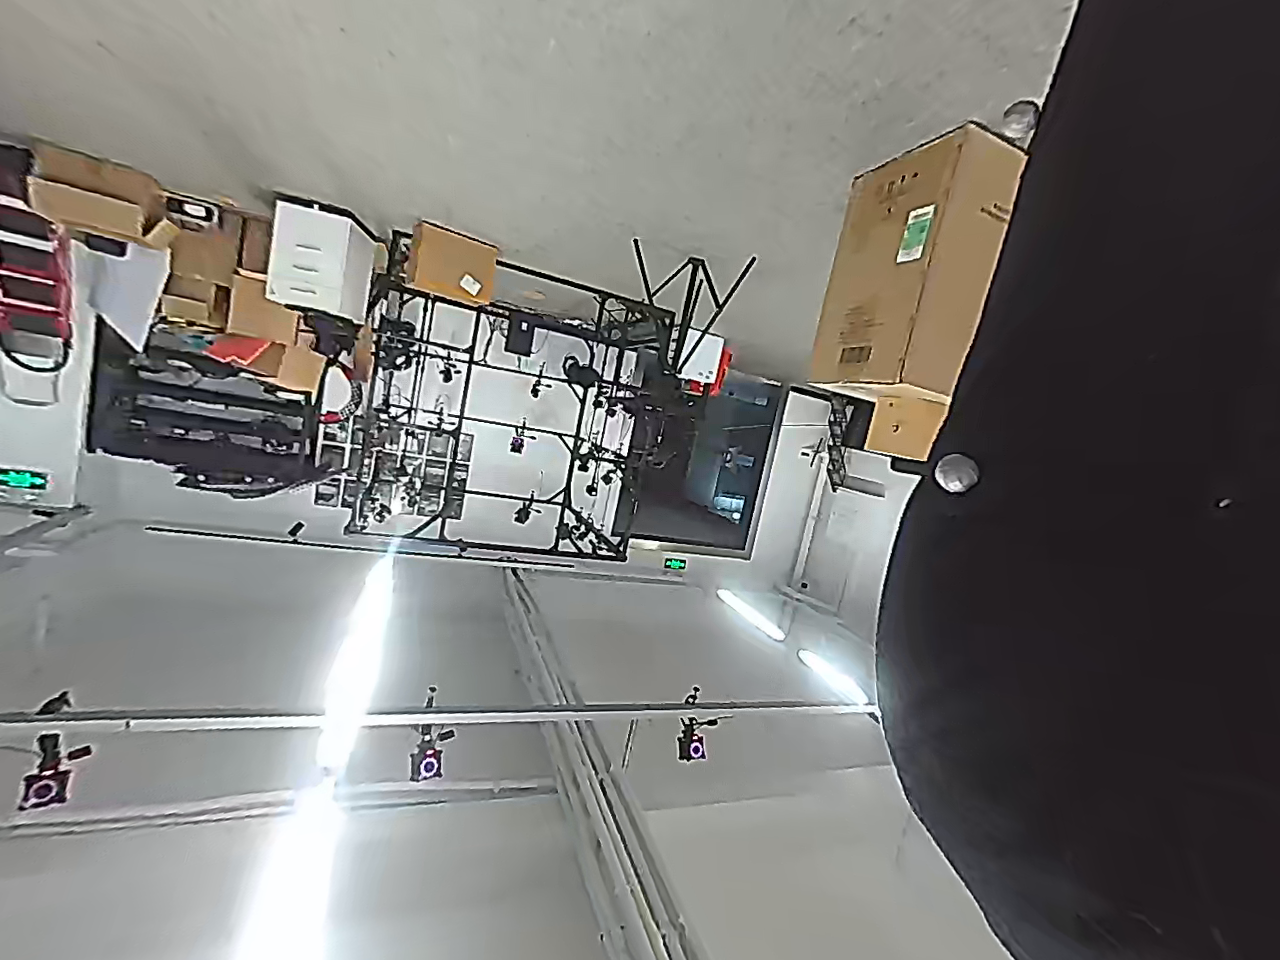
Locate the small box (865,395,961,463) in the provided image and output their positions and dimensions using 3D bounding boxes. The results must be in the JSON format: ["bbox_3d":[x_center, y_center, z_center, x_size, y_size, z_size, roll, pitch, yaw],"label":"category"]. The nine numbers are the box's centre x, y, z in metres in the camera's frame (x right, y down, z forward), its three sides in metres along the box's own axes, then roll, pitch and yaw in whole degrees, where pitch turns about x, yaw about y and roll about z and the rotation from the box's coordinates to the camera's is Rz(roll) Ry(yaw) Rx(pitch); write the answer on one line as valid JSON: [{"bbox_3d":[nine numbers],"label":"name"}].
[{"bbox_3d":[0.800,-0.153,1.587,0.179,0.176,0.168,8,-173,-21],"label":"small box"}]
